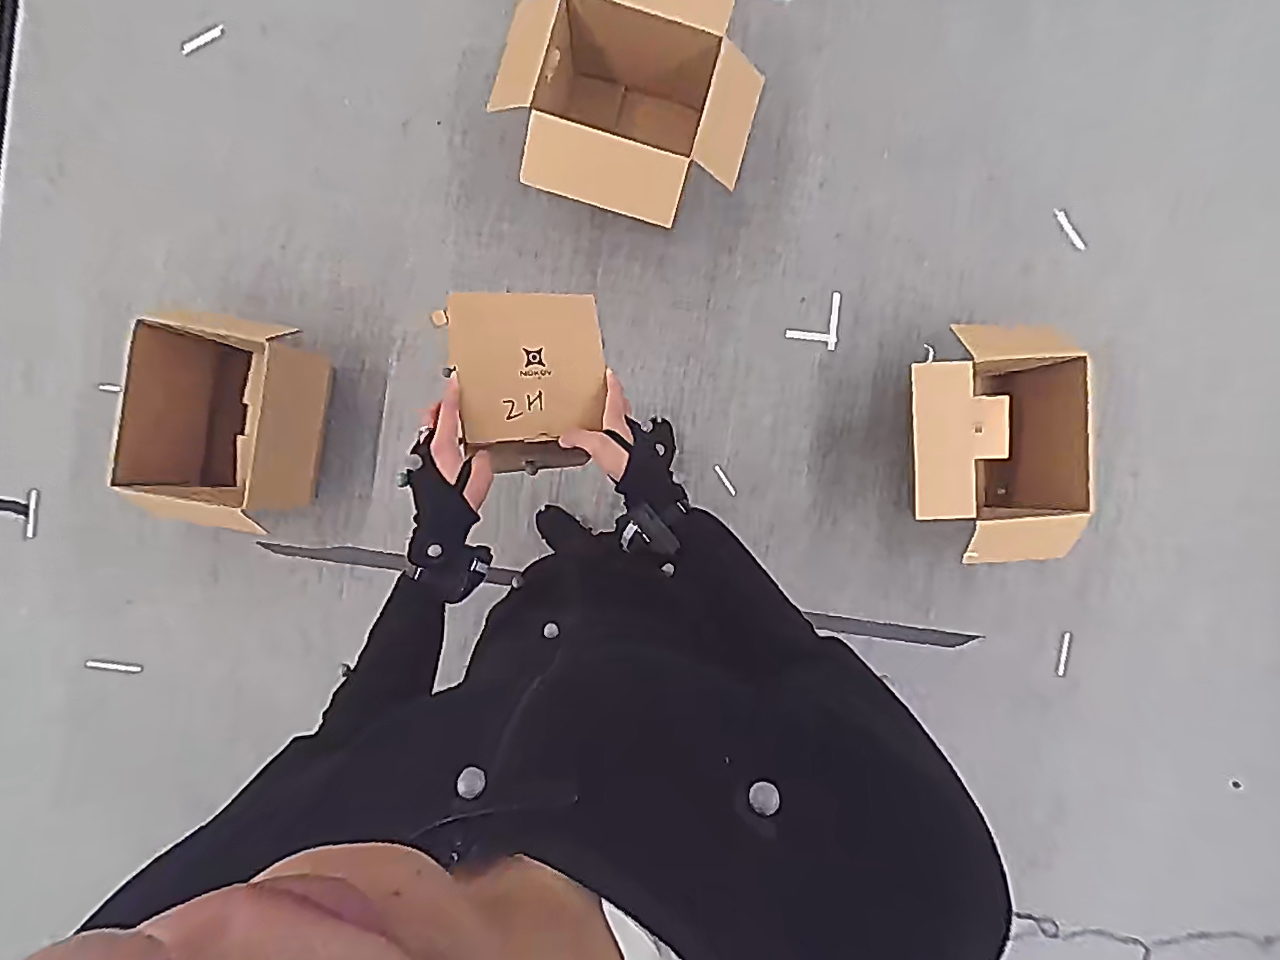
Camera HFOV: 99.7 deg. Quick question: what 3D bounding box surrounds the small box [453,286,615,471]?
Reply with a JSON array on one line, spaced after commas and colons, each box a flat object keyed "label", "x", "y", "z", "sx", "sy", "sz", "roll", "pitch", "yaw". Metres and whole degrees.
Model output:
[{"label": "small box", "x": -0.141, "y": -0.118, "z": 0.673, "sx": 0.168, "sy": 0.176, "sz": 0.179, "roll": -6, "pitch": 82, "yaw": -19}]
